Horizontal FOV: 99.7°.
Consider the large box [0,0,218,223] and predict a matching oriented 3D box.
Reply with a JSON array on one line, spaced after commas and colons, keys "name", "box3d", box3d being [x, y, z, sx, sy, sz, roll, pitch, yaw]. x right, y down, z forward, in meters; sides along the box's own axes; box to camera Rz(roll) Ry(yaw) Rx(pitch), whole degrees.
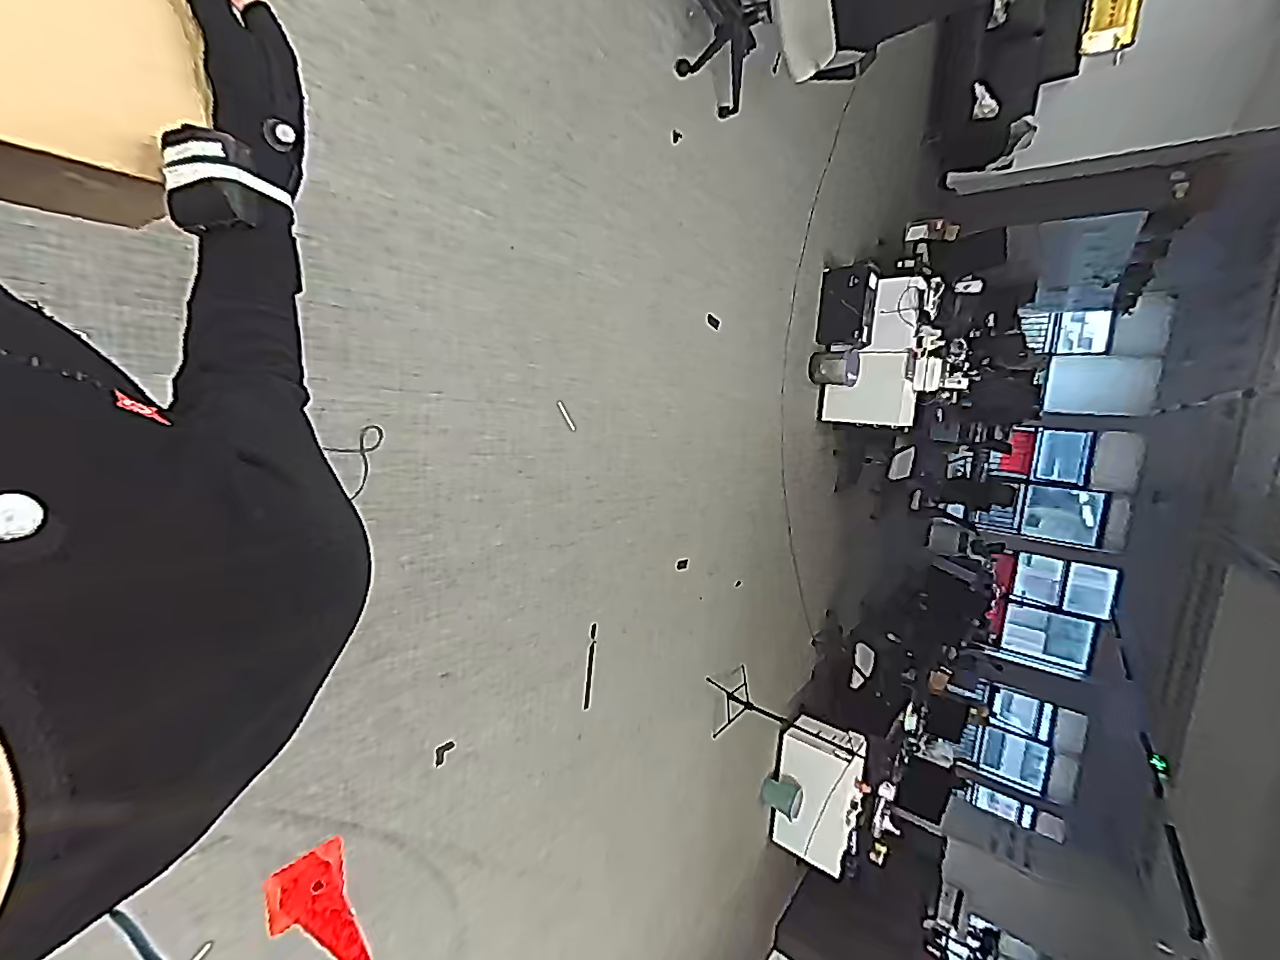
[{"name": "large box", "box3d": [-0.567, -0.392, 0.343, 0.408, 0.320, 0.320, -7, 107, -52]}]

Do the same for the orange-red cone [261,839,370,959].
[{"name": "orange-red cone", "box3d": [-0.826, 1.178, 1.438, 0.198, 0.360, 0.199, -10, 105, -52]}]
